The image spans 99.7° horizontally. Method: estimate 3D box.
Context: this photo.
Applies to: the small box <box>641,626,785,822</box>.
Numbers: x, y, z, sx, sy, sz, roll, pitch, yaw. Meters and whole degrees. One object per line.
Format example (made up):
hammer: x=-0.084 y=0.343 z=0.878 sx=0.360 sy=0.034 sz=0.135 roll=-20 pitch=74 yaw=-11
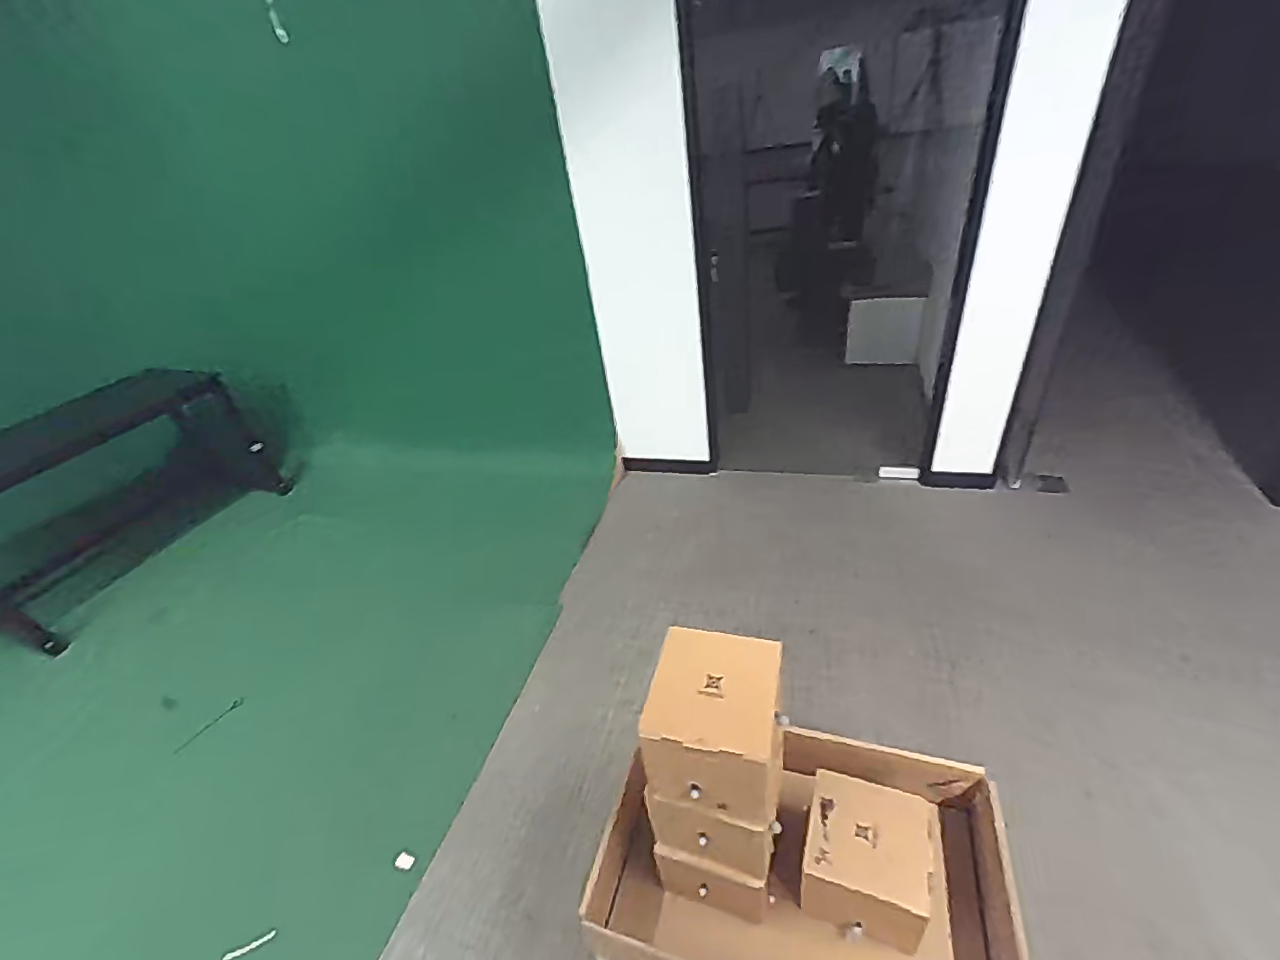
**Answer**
small box: x=0.111 y=0.338 z=0.764 sx=0.168 sy=0.176 sz=0.179 roll=3 pitch=37 yaw=18
